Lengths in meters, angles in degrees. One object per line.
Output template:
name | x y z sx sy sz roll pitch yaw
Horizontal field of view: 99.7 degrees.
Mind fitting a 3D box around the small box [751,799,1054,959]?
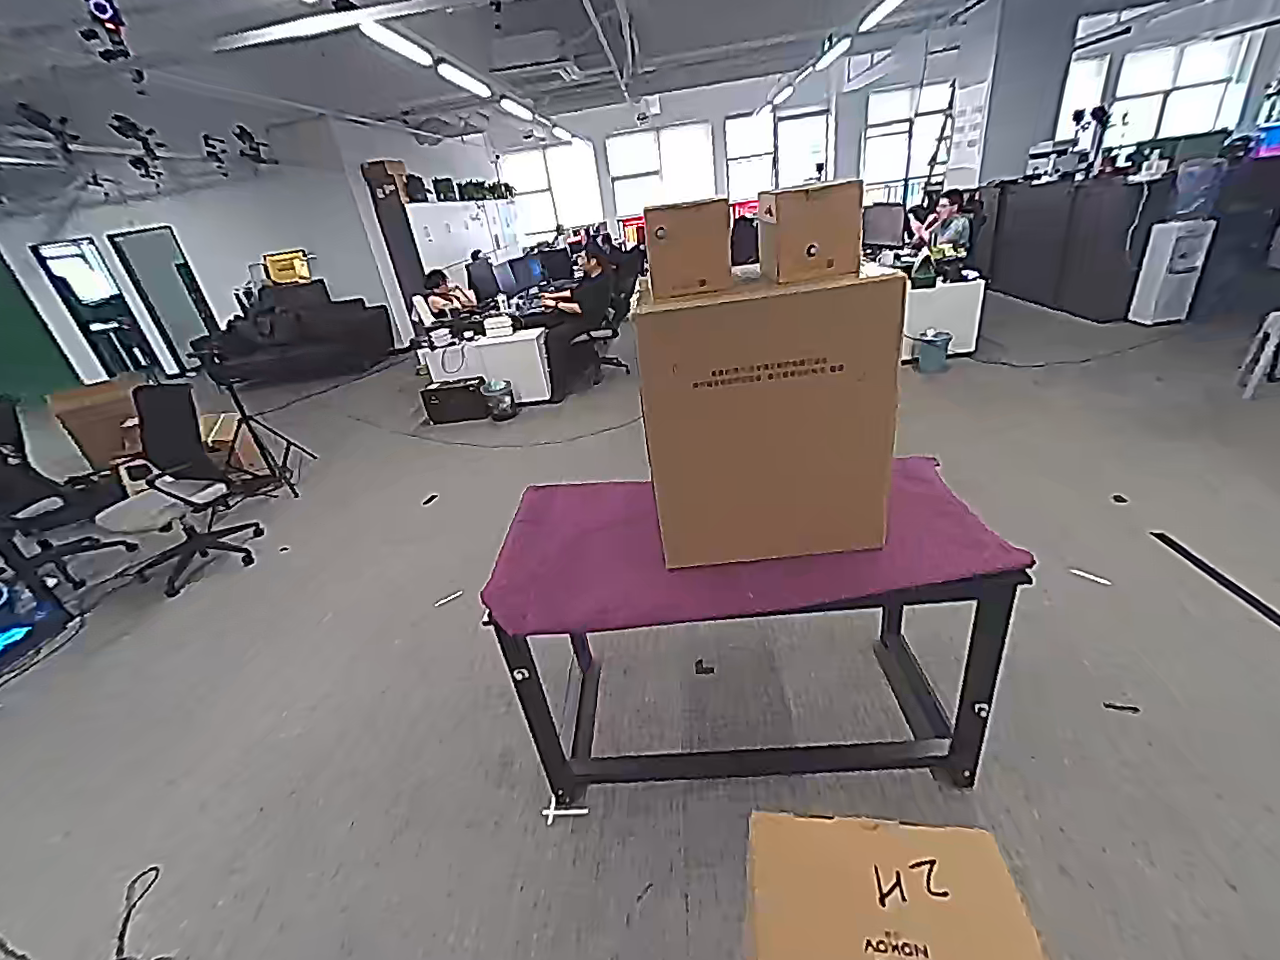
small box | 0.160 0.347 0.350 0.168 0.176 0.179 0 27 8

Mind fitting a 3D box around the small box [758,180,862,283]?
small box | 0.343 -0.513 1.120 0.168 0.176 0.179 -8 28 3
